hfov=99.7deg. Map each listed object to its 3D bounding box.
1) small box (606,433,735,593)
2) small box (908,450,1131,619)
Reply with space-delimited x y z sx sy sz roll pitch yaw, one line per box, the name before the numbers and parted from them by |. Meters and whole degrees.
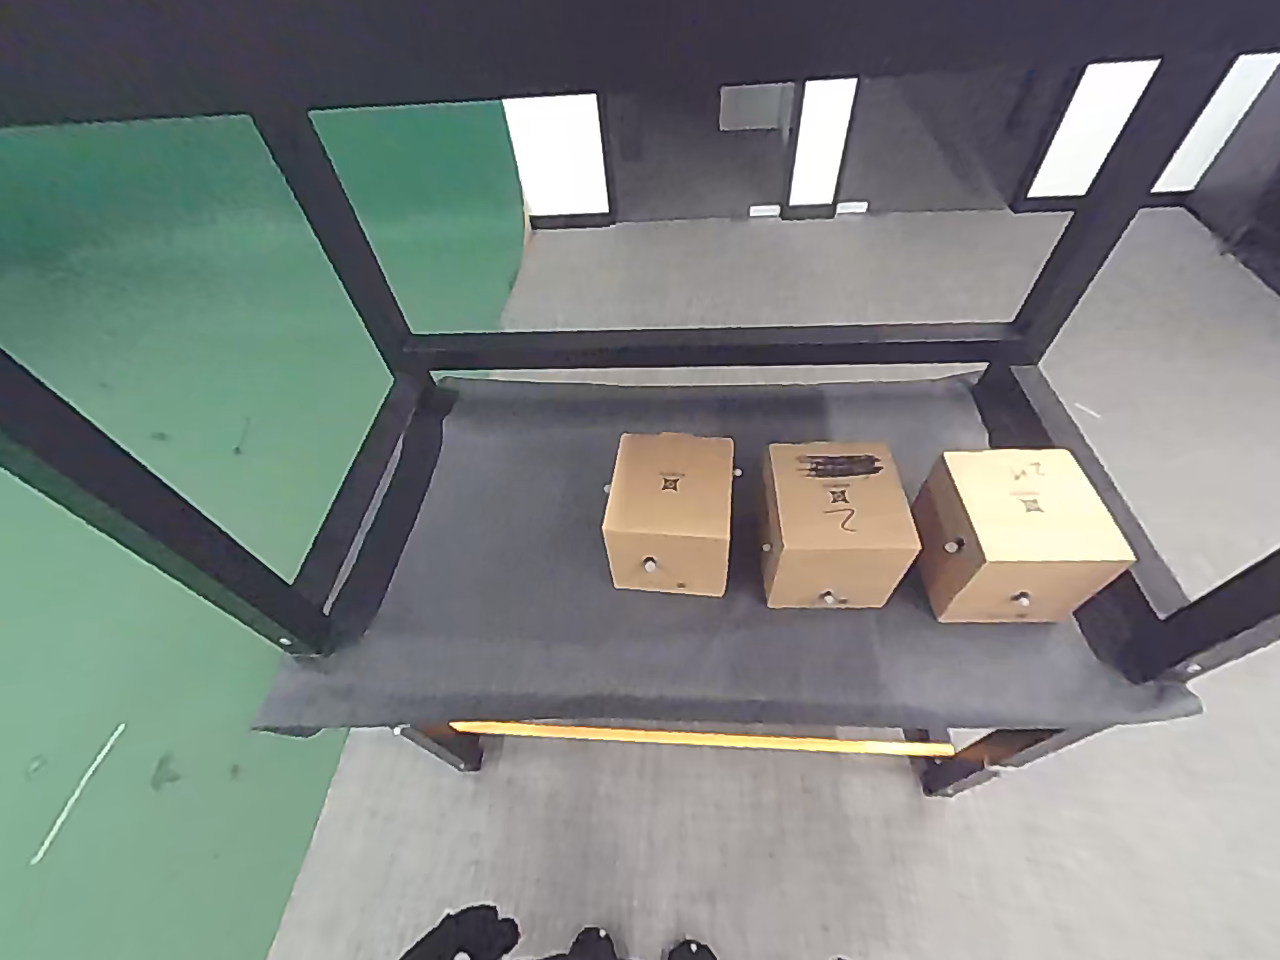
small box | 0.052 0.052 0.805 0.168 0.176 0.179 3 52 8
small box | 0.495 0.079 0.741 0.168 0.176 0.179 -1 50 4
